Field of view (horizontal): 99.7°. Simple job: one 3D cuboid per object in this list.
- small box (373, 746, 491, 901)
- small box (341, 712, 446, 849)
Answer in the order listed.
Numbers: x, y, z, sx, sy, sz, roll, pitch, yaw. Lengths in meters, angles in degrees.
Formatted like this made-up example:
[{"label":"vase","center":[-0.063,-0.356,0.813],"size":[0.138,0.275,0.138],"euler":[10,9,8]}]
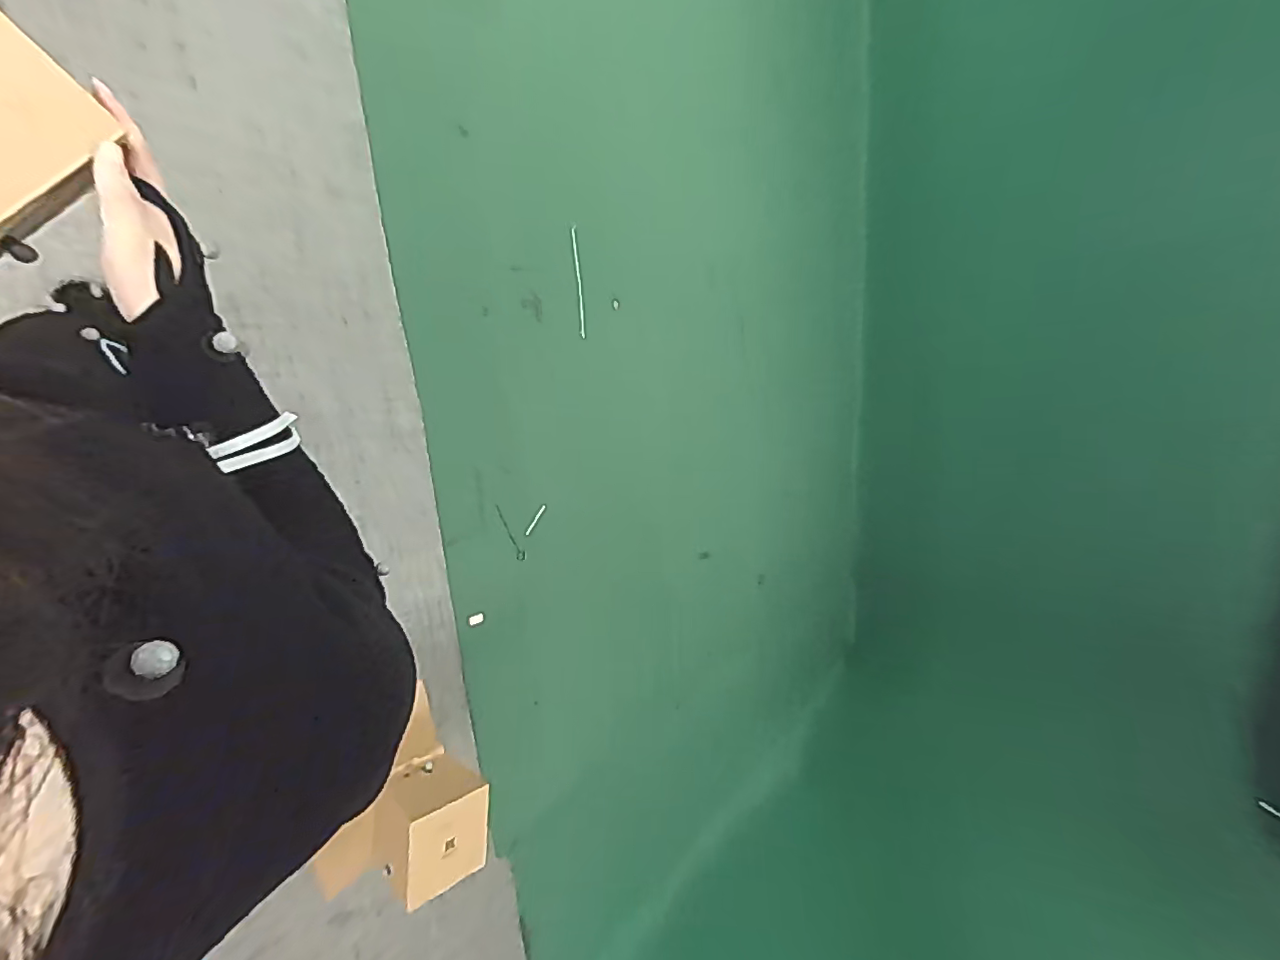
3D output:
[{"label":"small box","center":[-0.426,0.683,1.101],"size":[0.168,0.176,0.179],"euler":[-1,97,-49]},{"label":"small box","center":[-0.549,0.656,1.203],"size":[0.168,0.176,0.179],"euler":[-6,101,-47]}]
